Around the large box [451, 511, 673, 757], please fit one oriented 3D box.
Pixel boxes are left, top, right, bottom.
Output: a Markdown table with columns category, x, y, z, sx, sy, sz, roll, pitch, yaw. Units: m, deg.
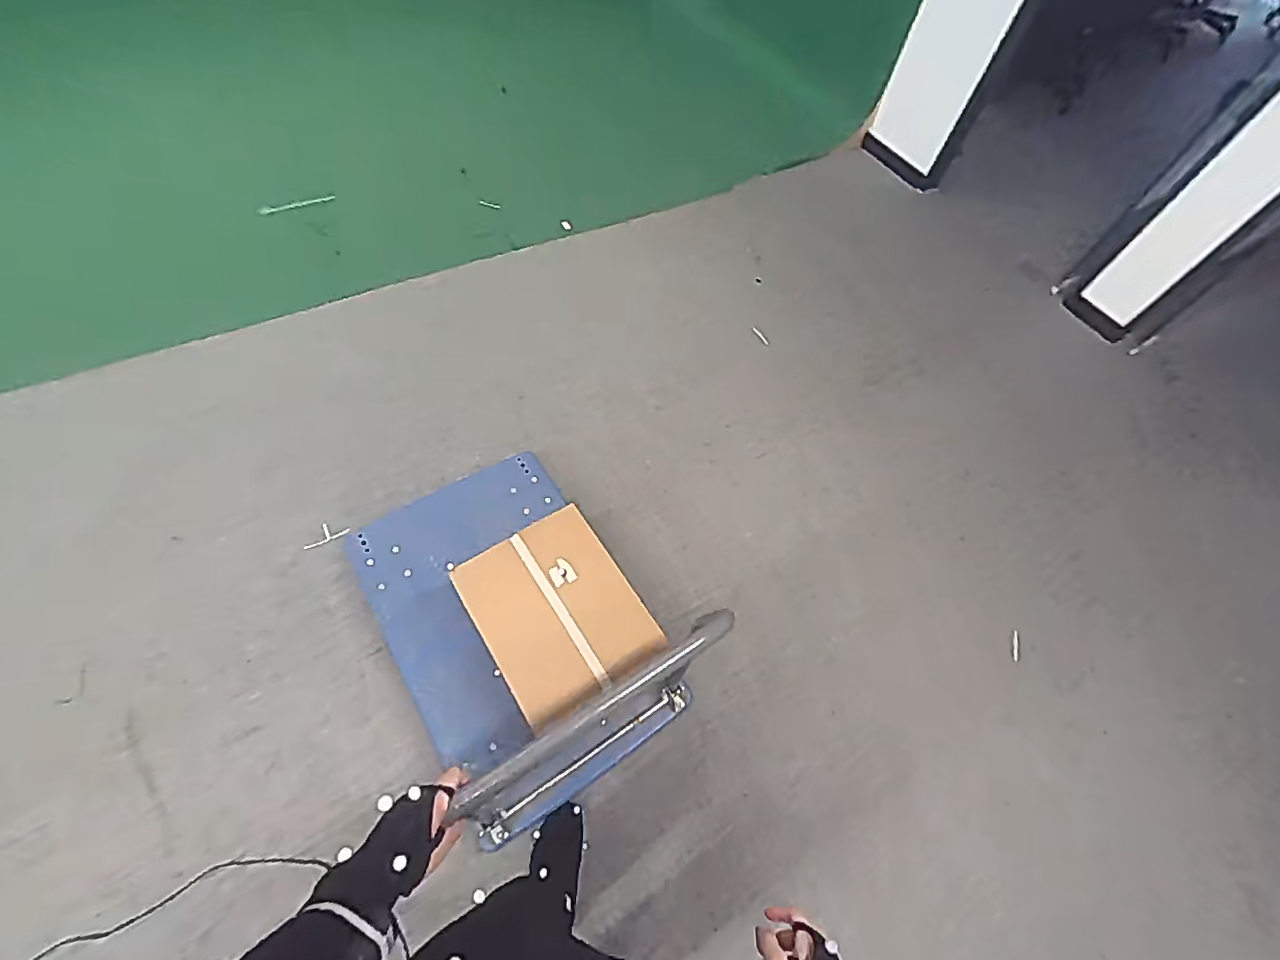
| category | x | y | z | sx | sy | sz | roll | pitch | yaw |
| --- | --- | --- | --- | --- | --- | --- | --- | --- | --- |
| large box | -0.176 | 0.356 | 1.246 | 0.320 | 0.320 | 0.408 | -28 | 66 | -21 |
